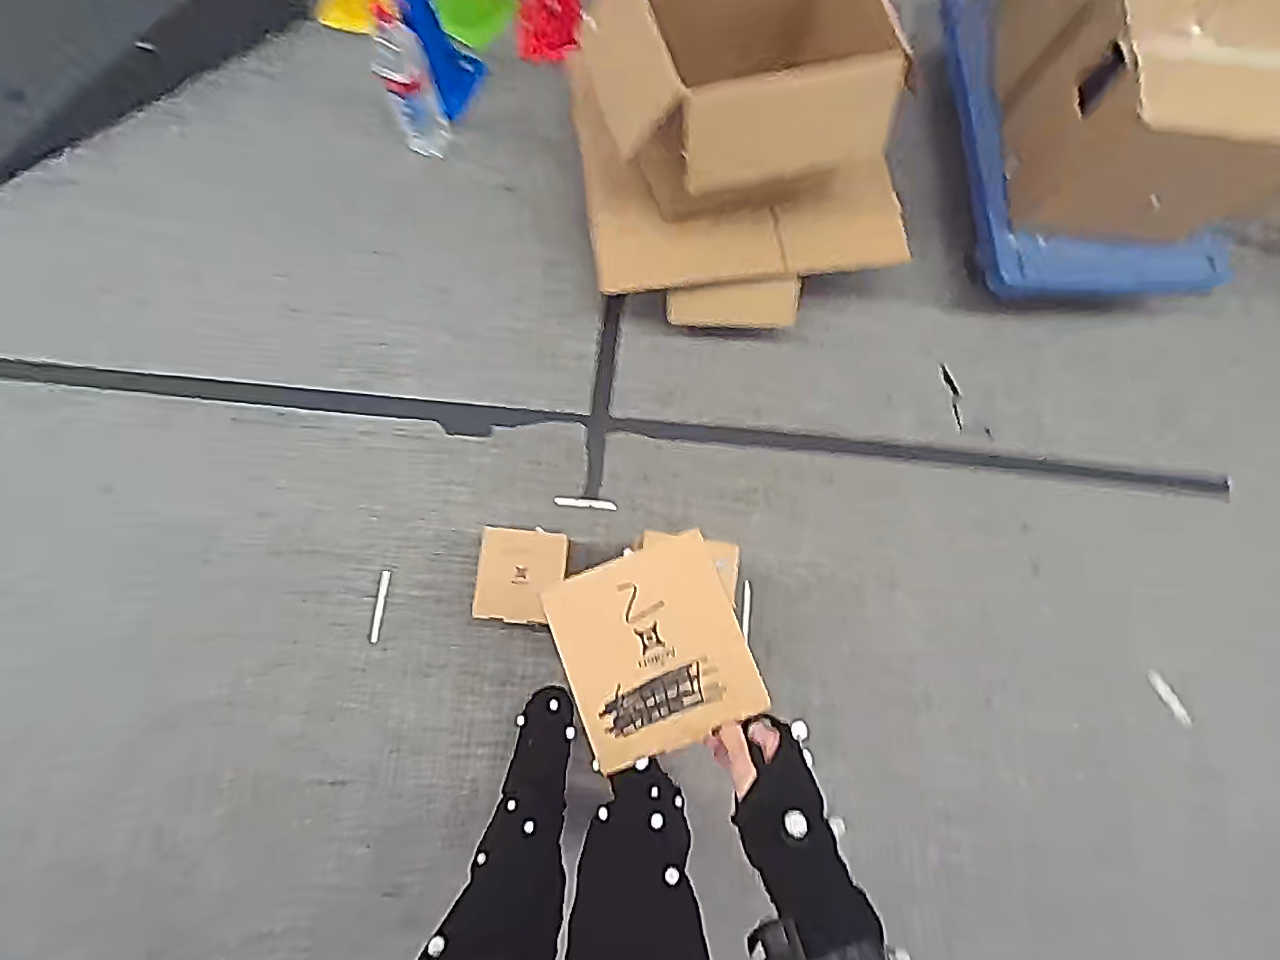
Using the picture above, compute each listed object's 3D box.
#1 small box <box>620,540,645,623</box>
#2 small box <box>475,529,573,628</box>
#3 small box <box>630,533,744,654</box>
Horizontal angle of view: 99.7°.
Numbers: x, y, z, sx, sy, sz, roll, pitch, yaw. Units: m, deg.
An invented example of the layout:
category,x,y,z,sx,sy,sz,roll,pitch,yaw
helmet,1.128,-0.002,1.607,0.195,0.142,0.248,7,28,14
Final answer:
category,x,y,z,sx,sy,sz,roll,pitch,yaw
small box,0.061,0.226,1.136,0.179,0.176,0.168,12,79,-3
small box,-0.229,0.204,1.117,0.168,0.176,0.179,6,78,-5
small box,0.076,0.202,0.973,0.168,0.176,0.179,10,78,-3
